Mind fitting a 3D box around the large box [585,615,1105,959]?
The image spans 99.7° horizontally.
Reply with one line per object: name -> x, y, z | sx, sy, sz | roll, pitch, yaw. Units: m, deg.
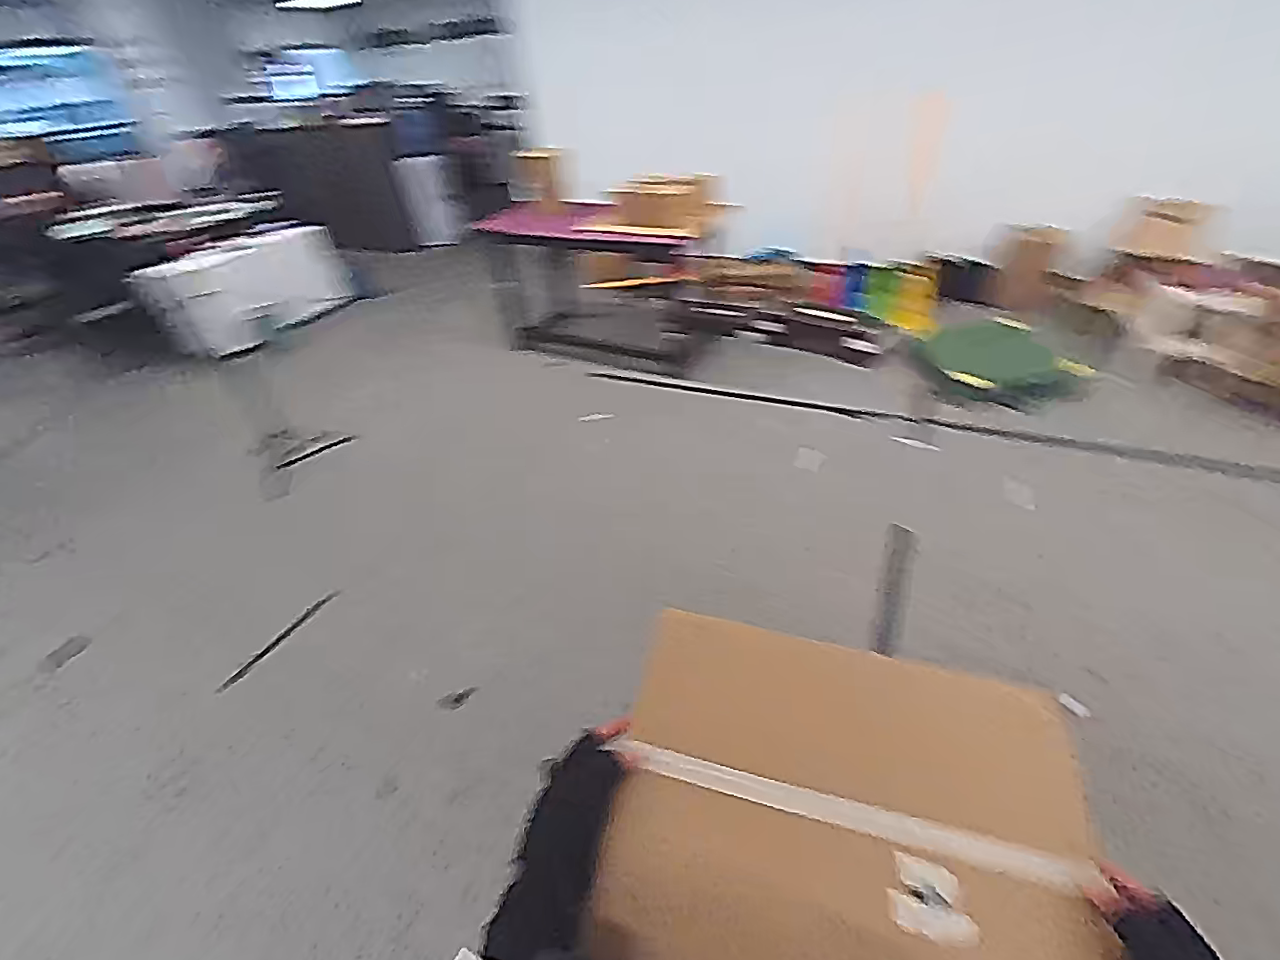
large box -> 0.187, 0.393, 0.603 | 0.408, 0.320, 0.320 | 10, 51, 12
